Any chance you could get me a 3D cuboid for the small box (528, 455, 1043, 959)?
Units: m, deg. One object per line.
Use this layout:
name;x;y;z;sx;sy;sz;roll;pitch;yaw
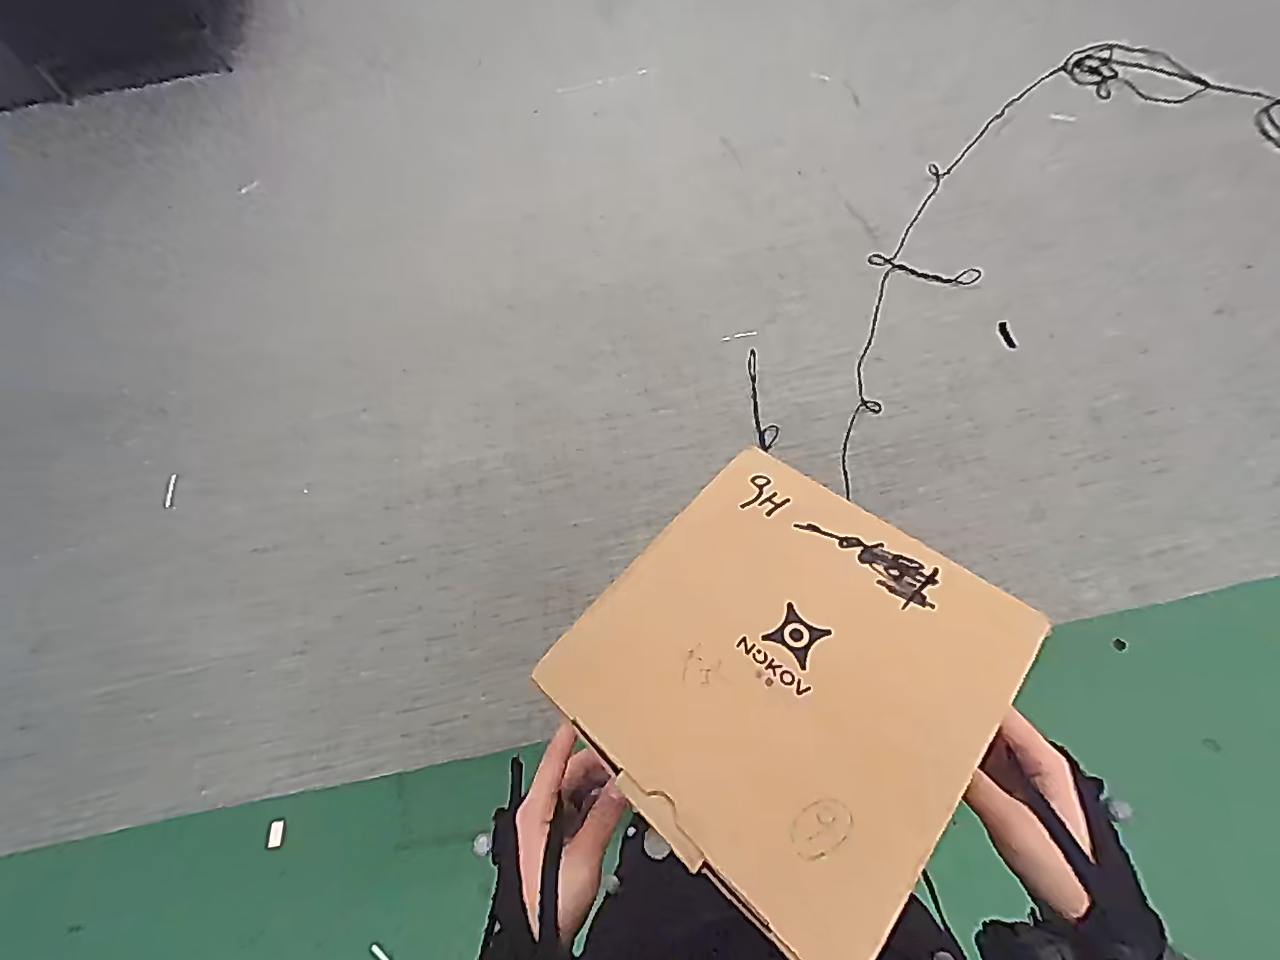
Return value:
small box;0.072;0.126;0.309;0.168;0.176;0.179;35;67;28
